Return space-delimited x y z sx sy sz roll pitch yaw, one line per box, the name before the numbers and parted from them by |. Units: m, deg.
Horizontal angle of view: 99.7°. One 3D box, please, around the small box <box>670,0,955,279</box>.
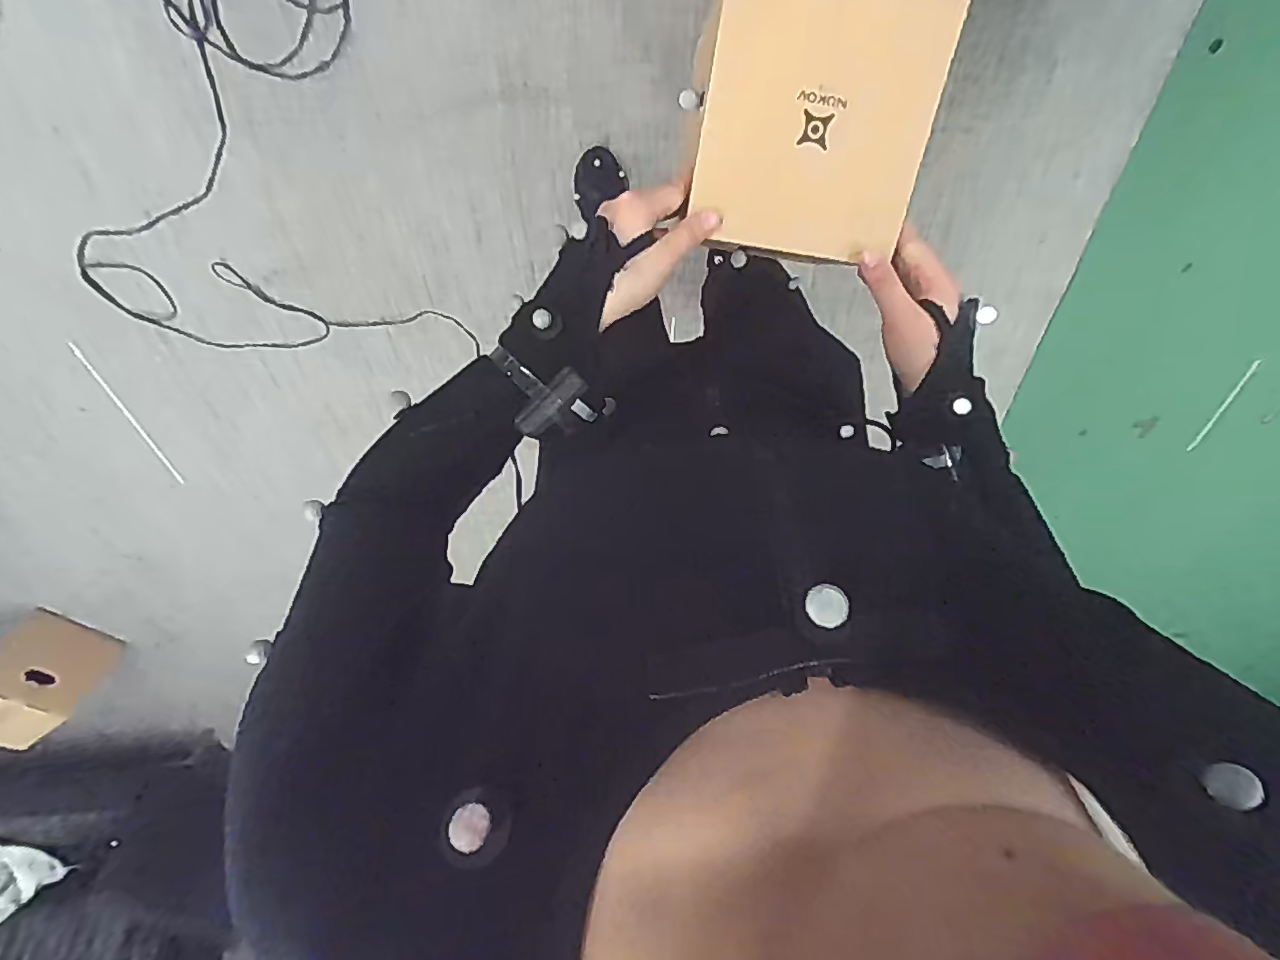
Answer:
small box | 0.120 -0.277 0.464 0.168 0.176 0.179 8 111 -4
